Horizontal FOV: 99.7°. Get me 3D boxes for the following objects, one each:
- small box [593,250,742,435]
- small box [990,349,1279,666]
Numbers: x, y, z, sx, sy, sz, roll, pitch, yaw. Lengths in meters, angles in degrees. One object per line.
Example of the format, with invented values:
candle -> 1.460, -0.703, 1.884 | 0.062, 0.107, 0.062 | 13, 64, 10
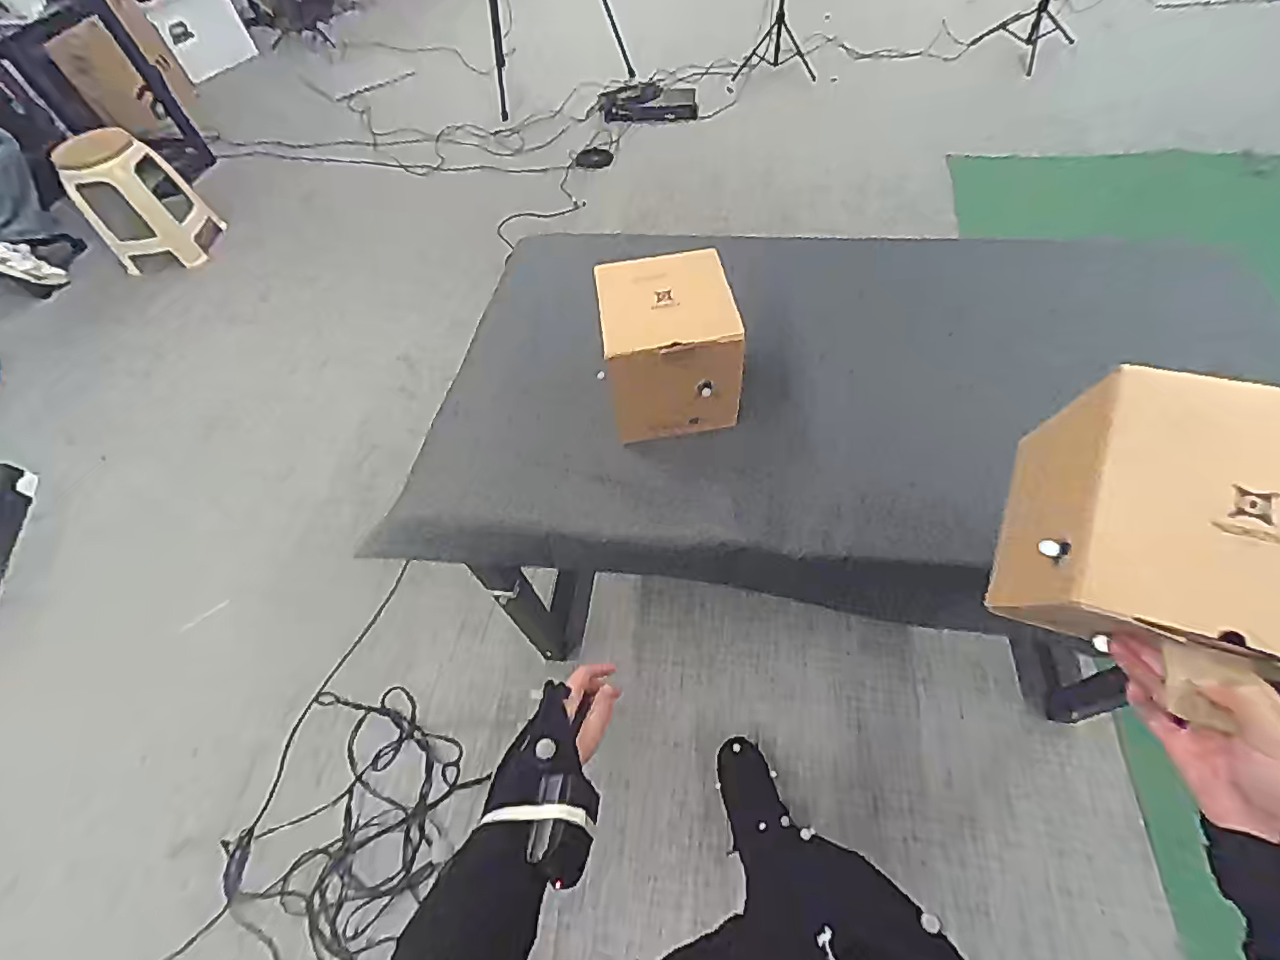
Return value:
small box -> 0.033, -0.175, 0.723 | 0.168, 0.176, 0.179 | -8, 54, -2
small box -> 0.397, 0.029, 0.411 | 0.168, 0.176, 0.179 | 15, 80, 17
